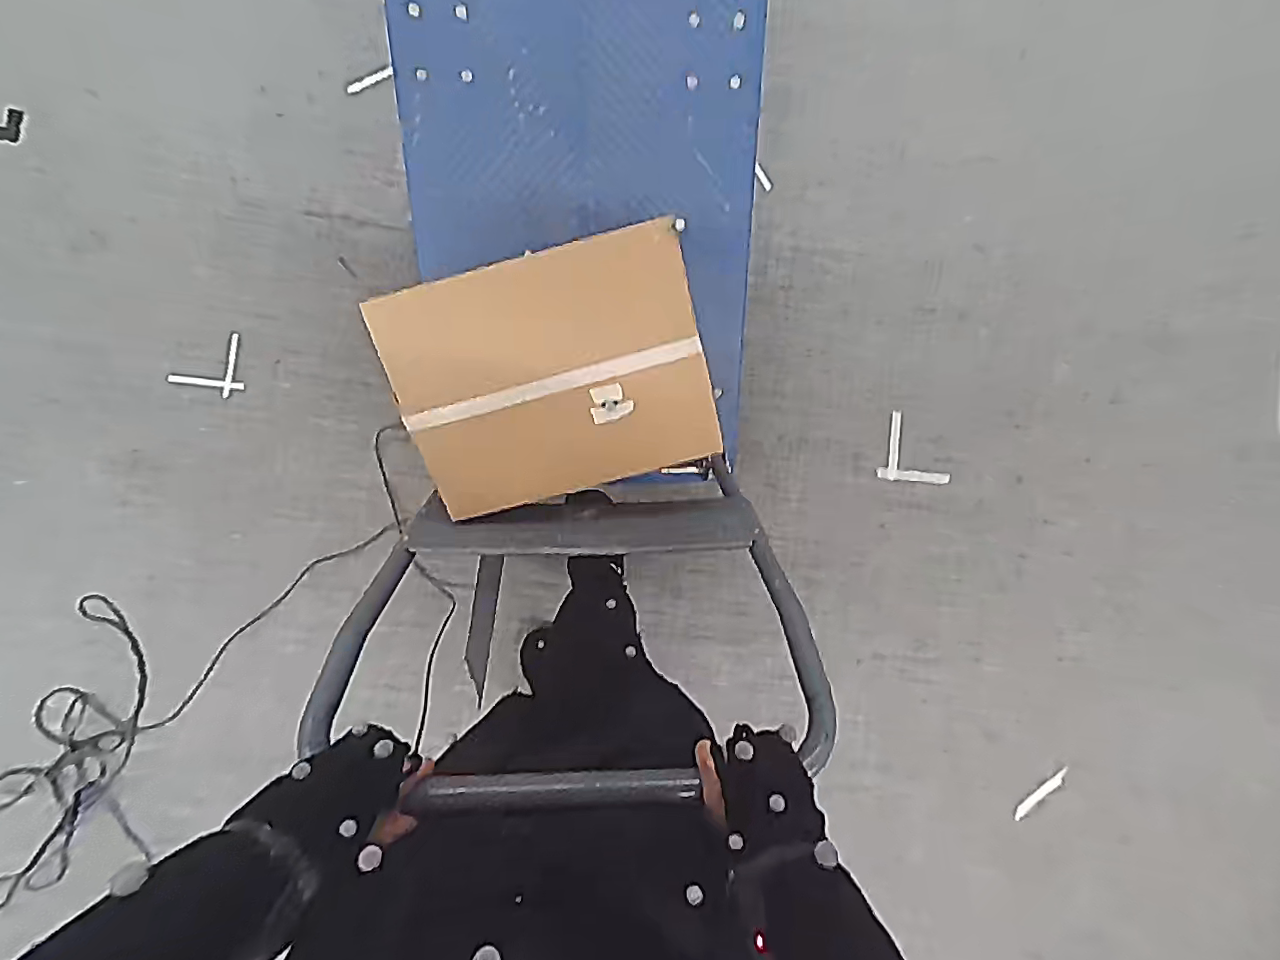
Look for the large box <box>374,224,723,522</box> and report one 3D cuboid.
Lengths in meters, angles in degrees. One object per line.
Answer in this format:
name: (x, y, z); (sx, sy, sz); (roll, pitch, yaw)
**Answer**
large box: (-0.120, -0.177, 0.863); (0.408, 0.320, 0.320); (-15, 111, 1)
